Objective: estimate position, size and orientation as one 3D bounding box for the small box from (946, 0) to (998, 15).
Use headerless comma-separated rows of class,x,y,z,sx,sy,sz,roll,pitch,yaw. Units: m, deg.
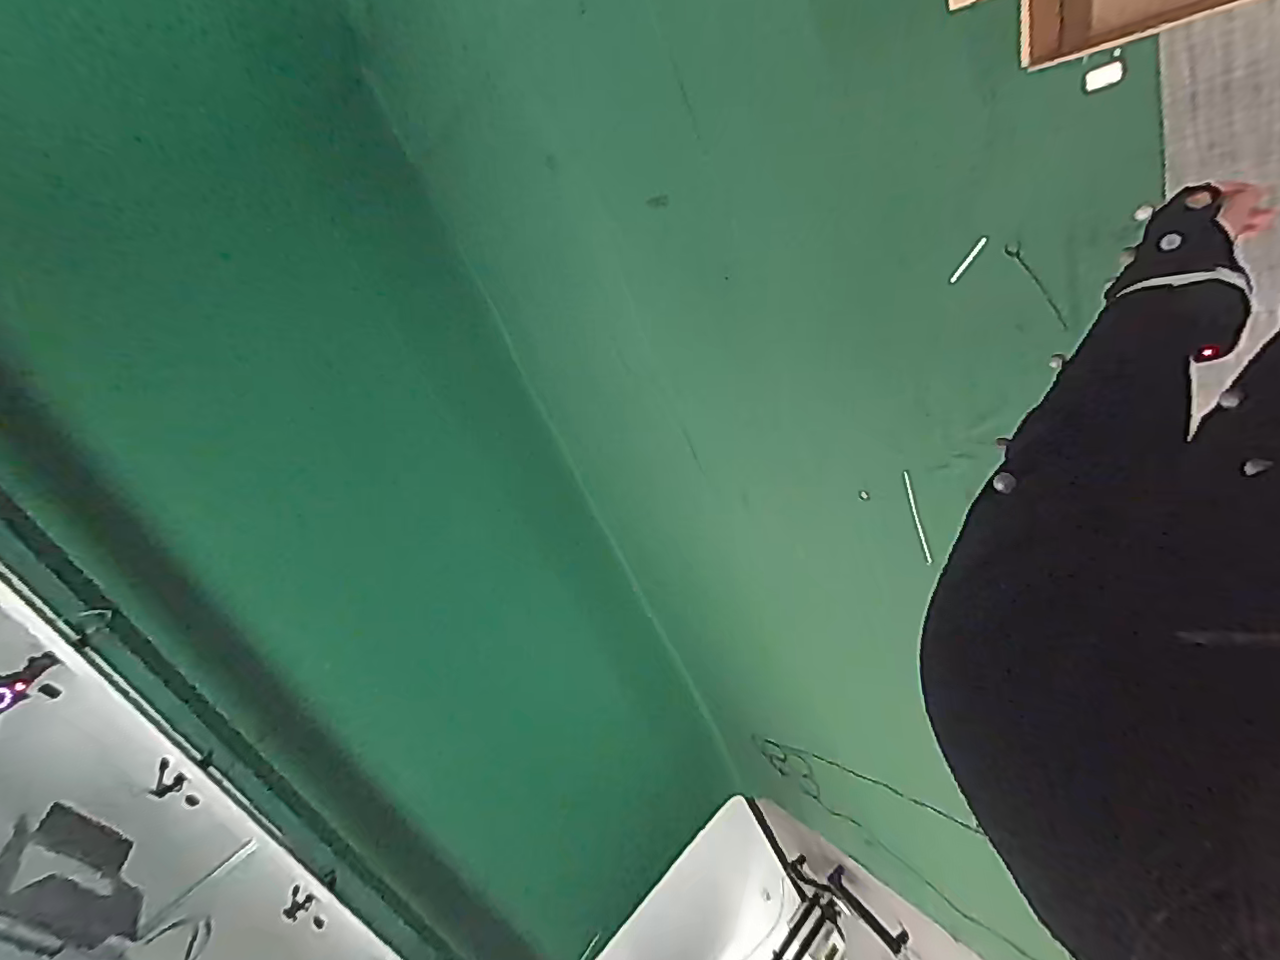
small box,0.450,-0.652,0.584,0.168,0.176,0.179,18,138,48
